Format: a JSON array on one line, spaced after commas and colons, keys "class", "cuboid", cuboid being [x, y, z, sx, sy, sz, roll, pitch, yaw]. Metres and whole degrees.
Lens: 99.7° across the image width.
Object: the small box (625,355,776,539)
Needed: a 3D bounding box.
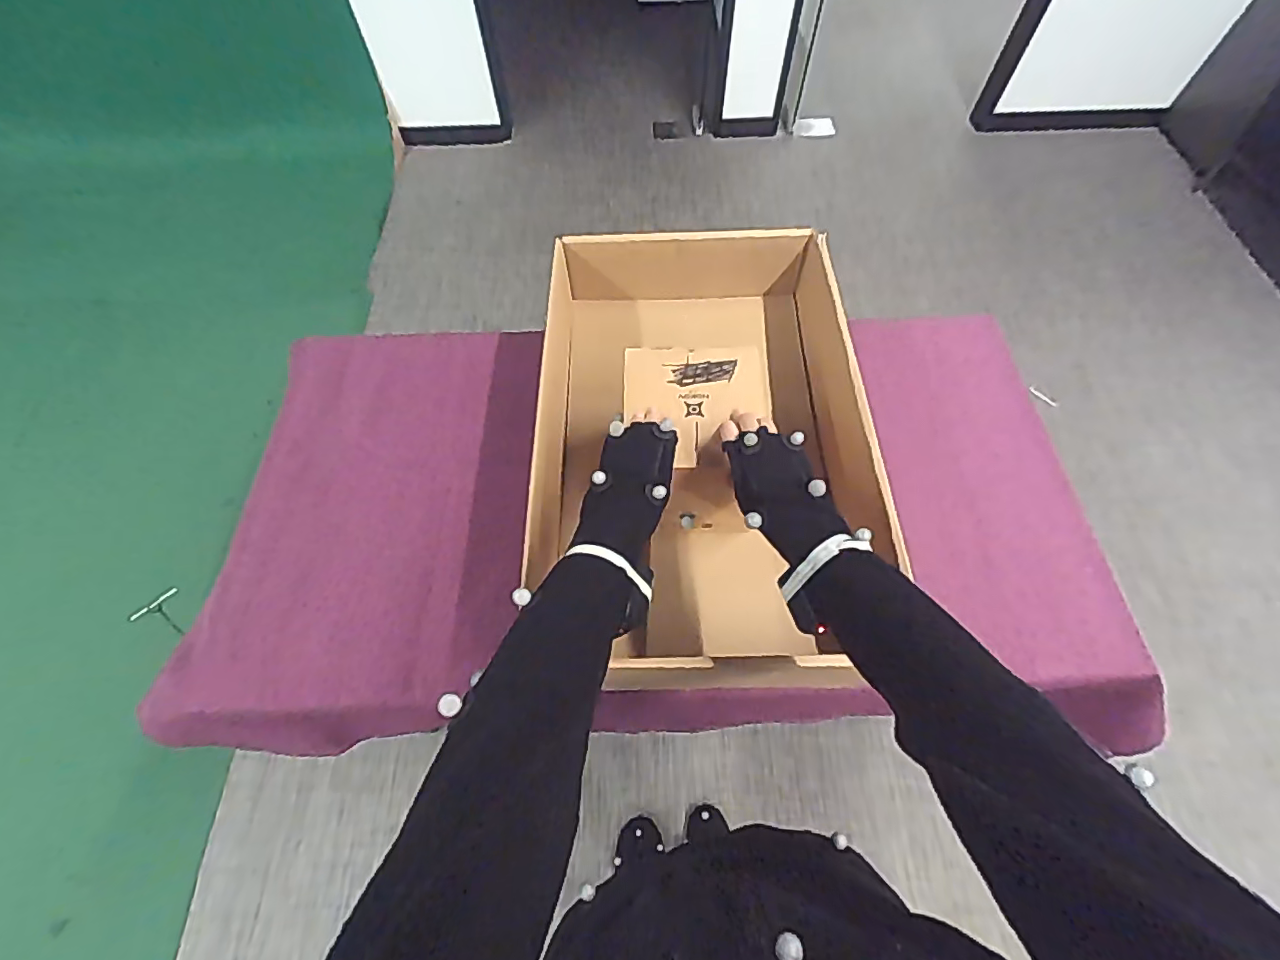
[{"class": "small box", "cuboid": [0.066, -0.038, 0.690, 0.168, 0.176, 0.179, -1, 60, 1]}]
